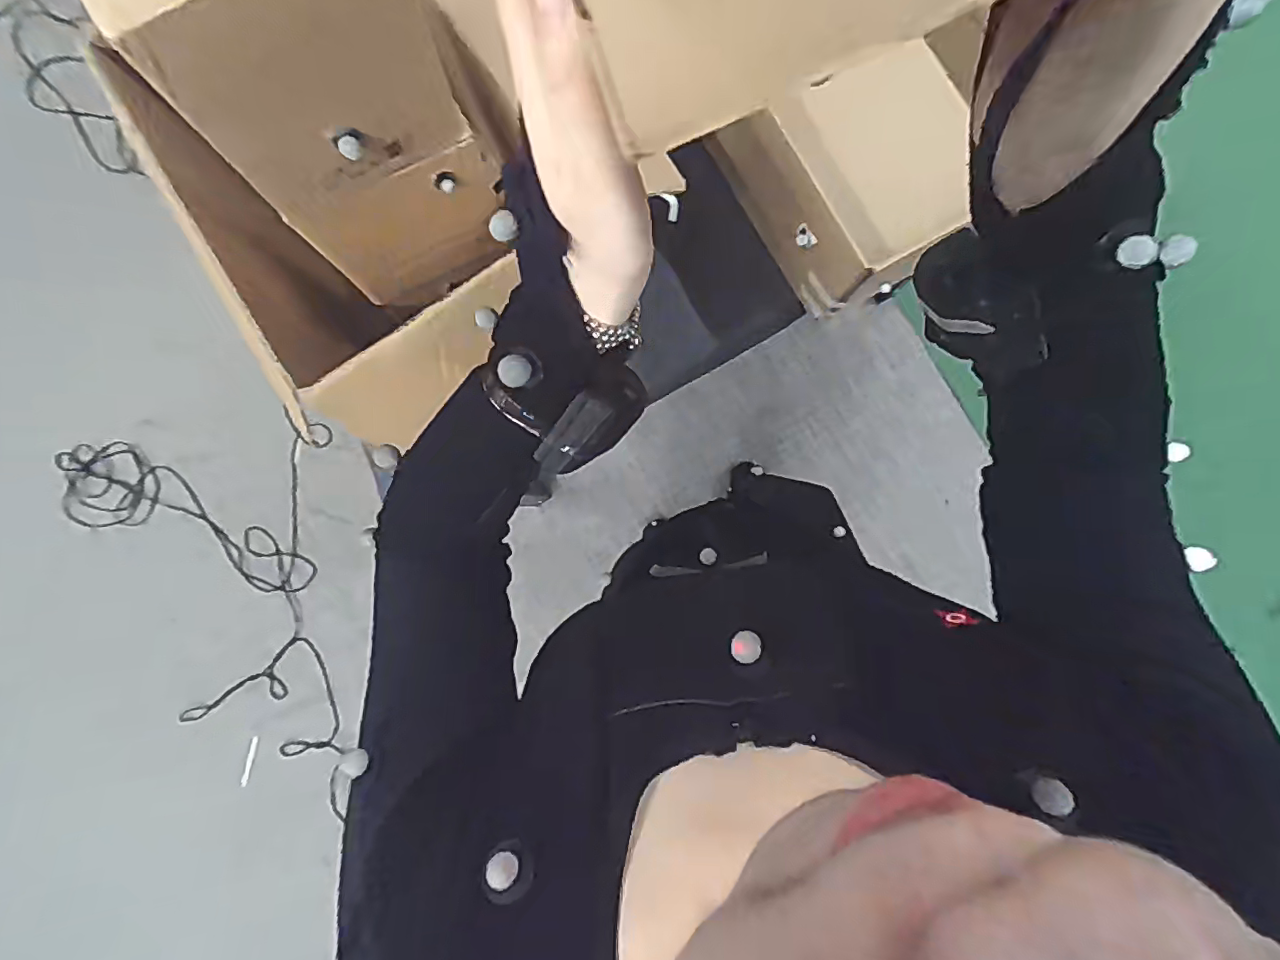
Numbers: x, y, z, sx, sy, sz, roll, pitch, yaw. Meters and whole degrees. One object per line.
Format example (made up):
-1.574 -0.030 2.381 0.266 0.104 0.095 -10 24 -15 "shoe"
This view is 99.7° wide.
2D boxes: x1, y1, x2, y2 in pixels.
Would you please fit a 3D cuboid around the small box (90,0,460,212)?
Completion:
-0.257 -0.336 0.379 0.168 0.176 0.179 -32 86 -5 "small box"

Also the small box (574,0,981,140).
0.045 -0.219 0.138 0.179 0.176 0.168 -19 129 10 "small box"
